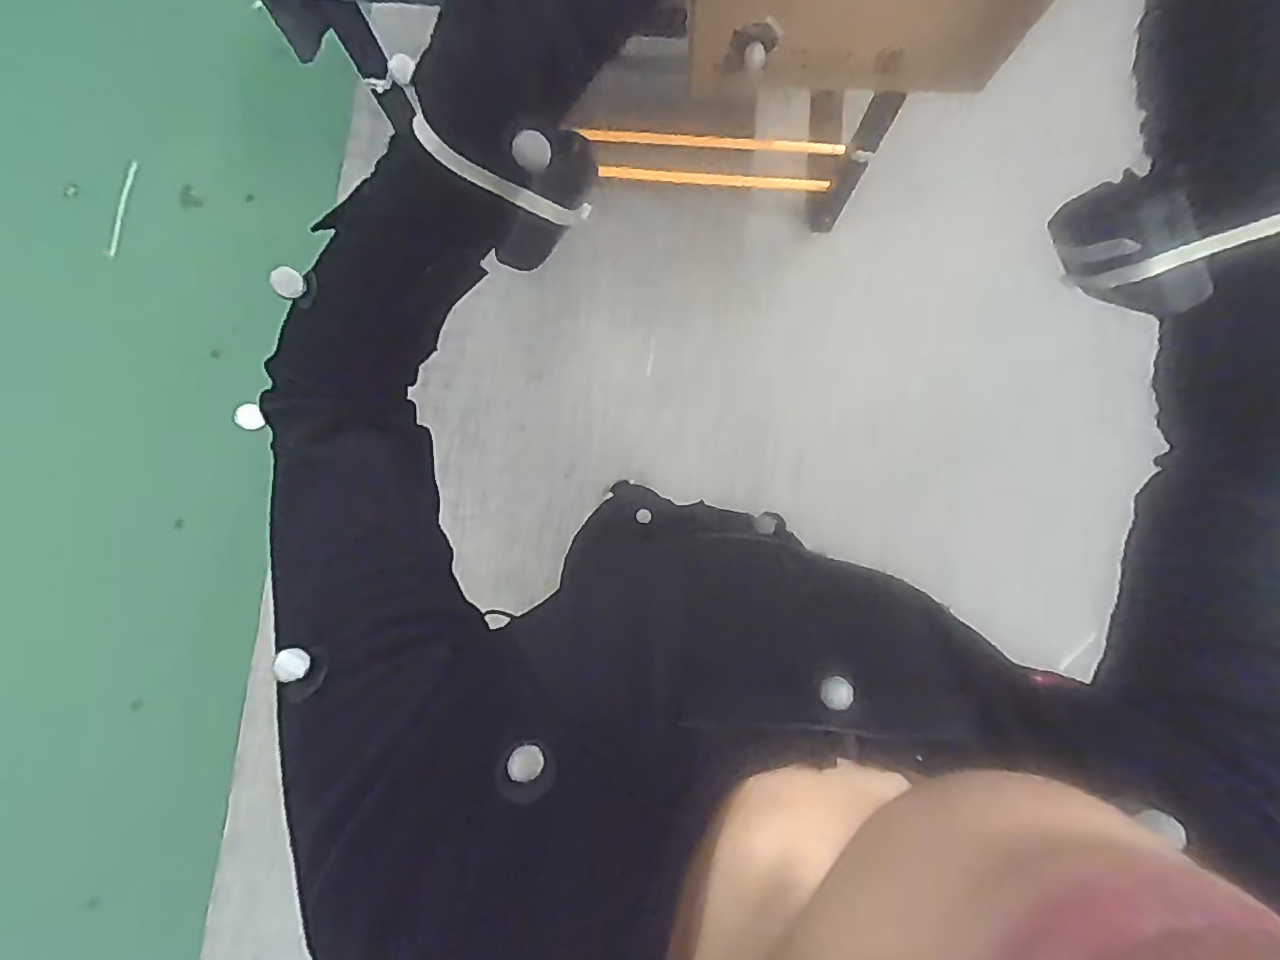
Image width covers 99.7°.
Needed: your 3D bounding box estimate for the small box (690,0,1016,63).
[{"bbox_3d":[0.111,-0.320,0.227,0.168,0.176,0.179,2,86,0],"label":"small box"}]
